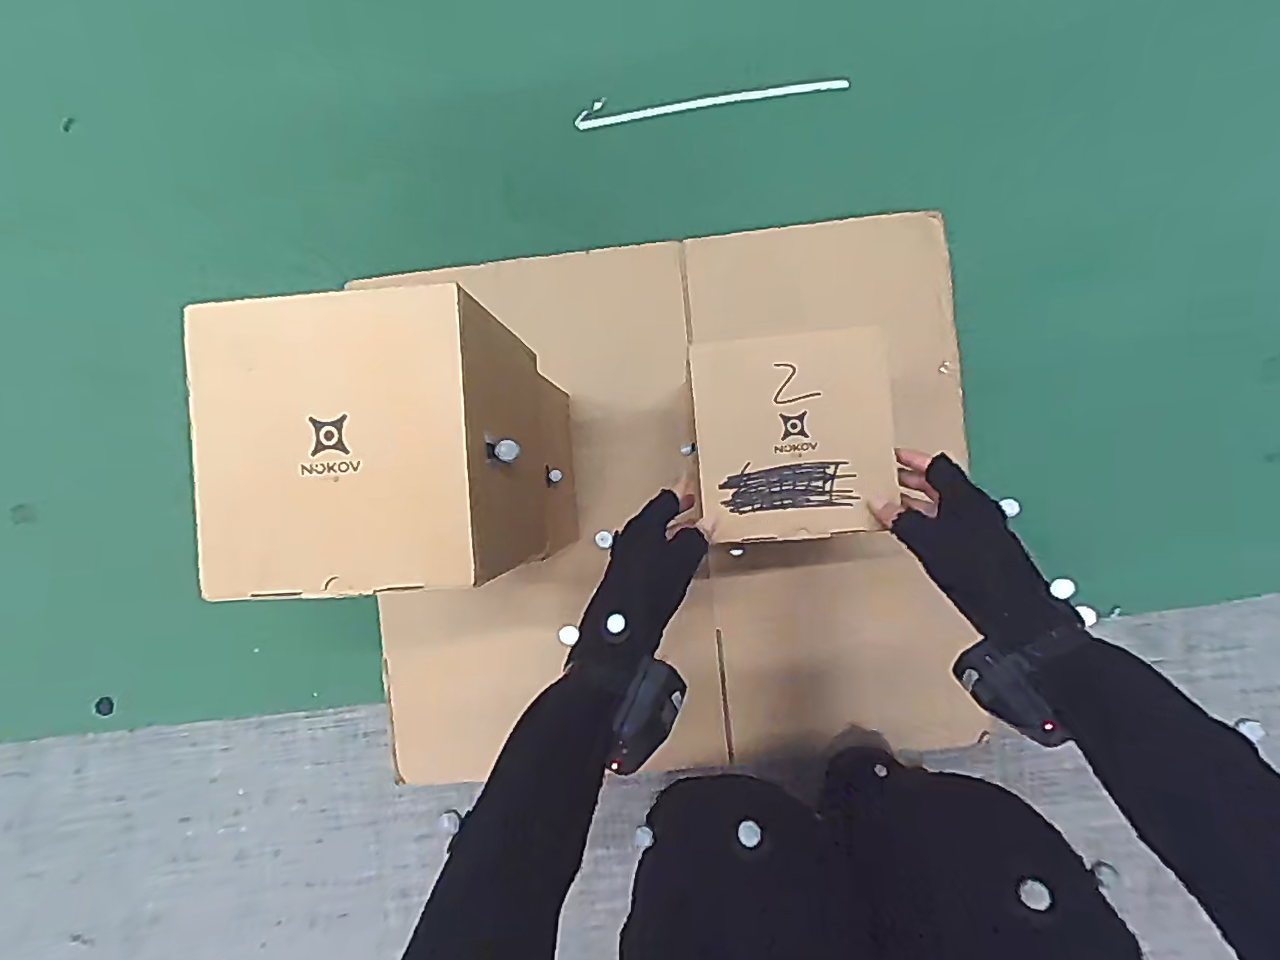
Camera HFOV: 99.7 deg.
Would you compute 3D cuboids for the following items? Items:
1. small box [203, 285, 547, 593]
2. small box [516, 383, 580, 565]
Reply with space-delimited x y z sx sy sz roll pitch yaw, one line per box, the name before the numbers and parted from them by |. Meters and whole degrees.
small box | -0.169 -0.022 0.394 0.168 0.176 0.179 -3 90 4
small box | -0.161 -0.008 0.556 0.168 0.176 0.179 -4 89 5
